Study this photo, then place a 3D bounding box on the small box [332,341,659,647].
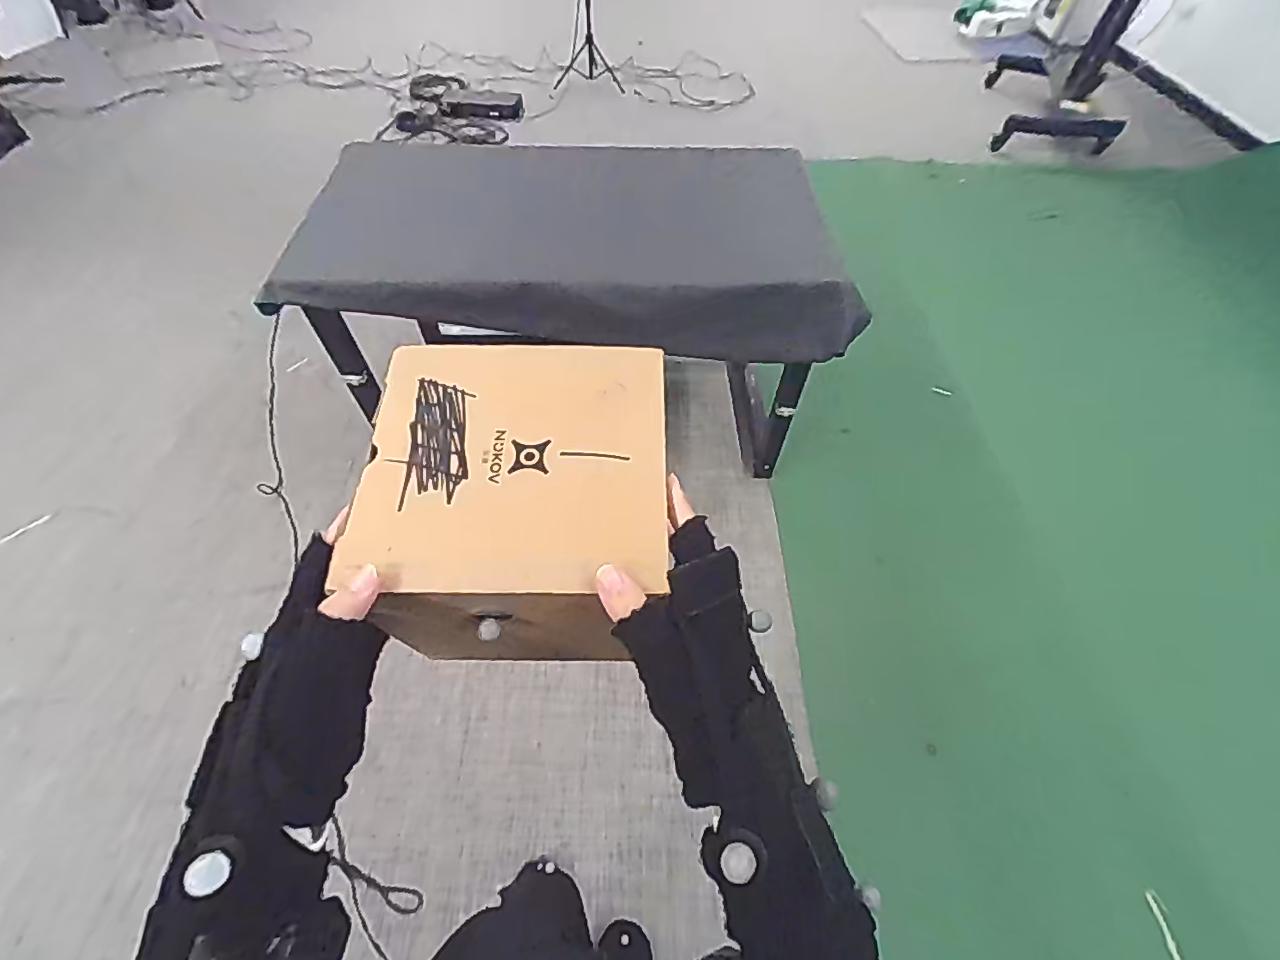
[{"bbox_3d":[-0.077,0.020,0.392,0.179,0.176,0.168,1,61,-1],"label":"small box"}]
